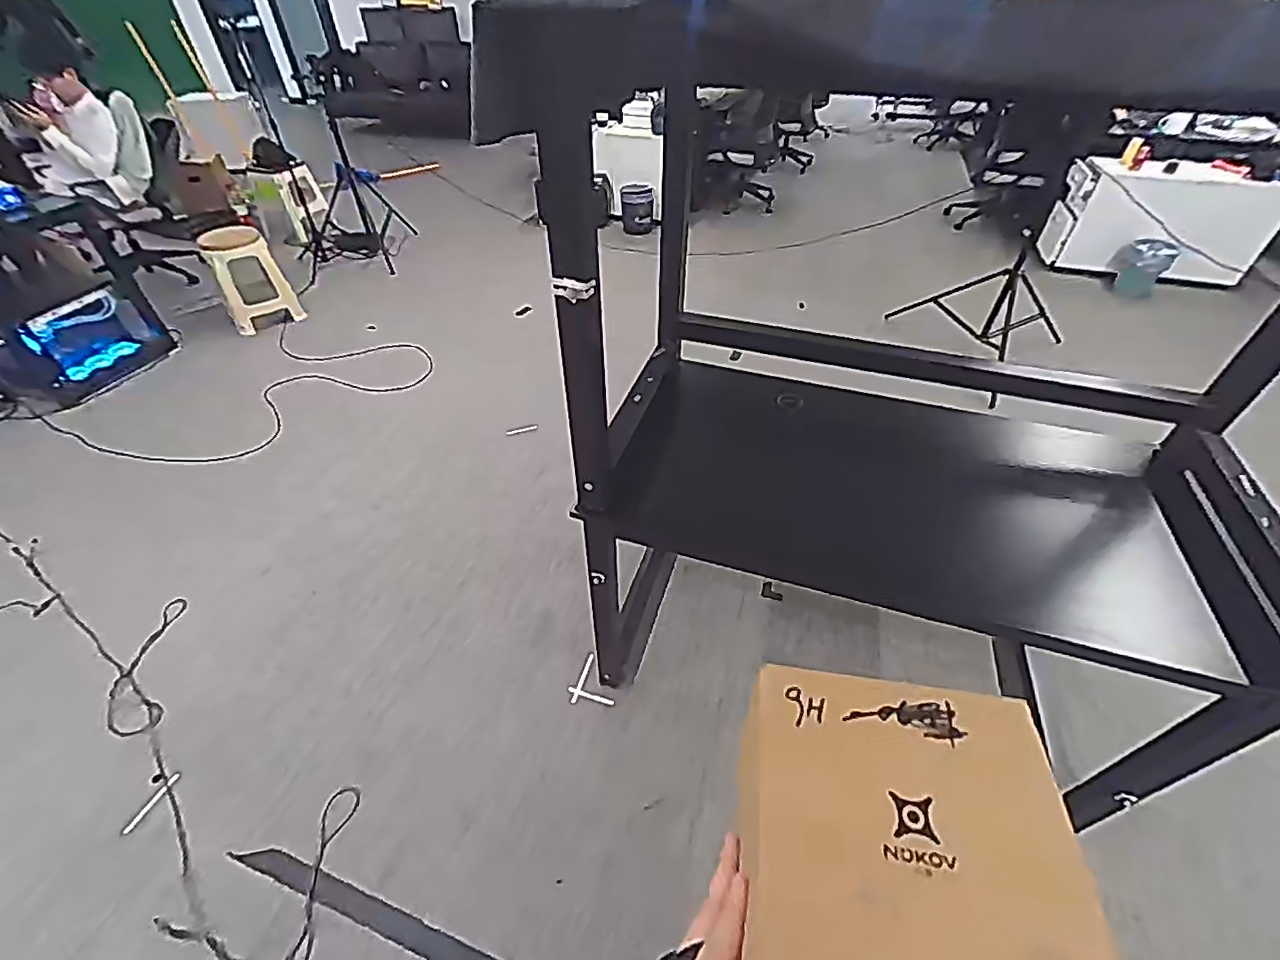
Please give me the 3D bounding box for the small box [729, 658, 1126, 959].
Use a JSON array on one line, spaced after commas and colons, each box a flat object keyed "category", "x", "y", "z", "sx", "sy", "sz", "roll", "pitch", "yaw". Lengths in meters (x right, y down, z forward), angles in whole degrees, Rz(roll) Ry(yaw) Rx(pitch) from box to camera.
[{"category": "small box", "x": 0.149, "y": 0.241, "z": 0.338, "sx": 0.168, "sy": 0.176, "sz": 0.179, "roll": 7, "pitch": 45, "yaw": 7}]
